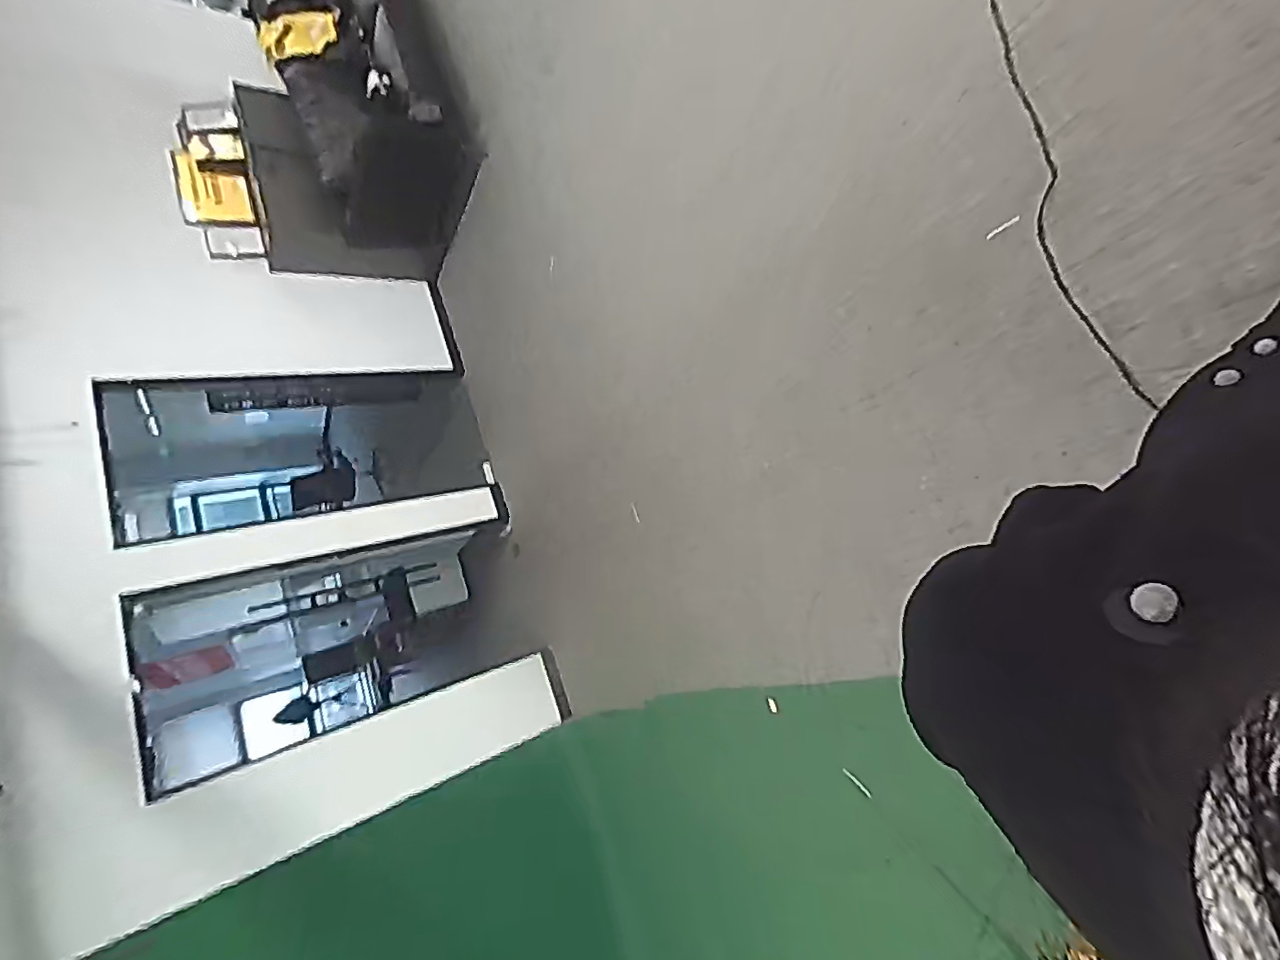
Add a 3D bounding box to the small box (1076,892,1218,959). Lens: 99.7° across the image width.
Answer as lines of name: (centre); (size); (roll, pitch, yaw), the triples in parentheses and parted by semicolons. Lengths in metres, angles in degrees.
small box: (1.028, 0.973, 1.073); (0.168, 0.176, 0.179); (-42, 67, 49)
